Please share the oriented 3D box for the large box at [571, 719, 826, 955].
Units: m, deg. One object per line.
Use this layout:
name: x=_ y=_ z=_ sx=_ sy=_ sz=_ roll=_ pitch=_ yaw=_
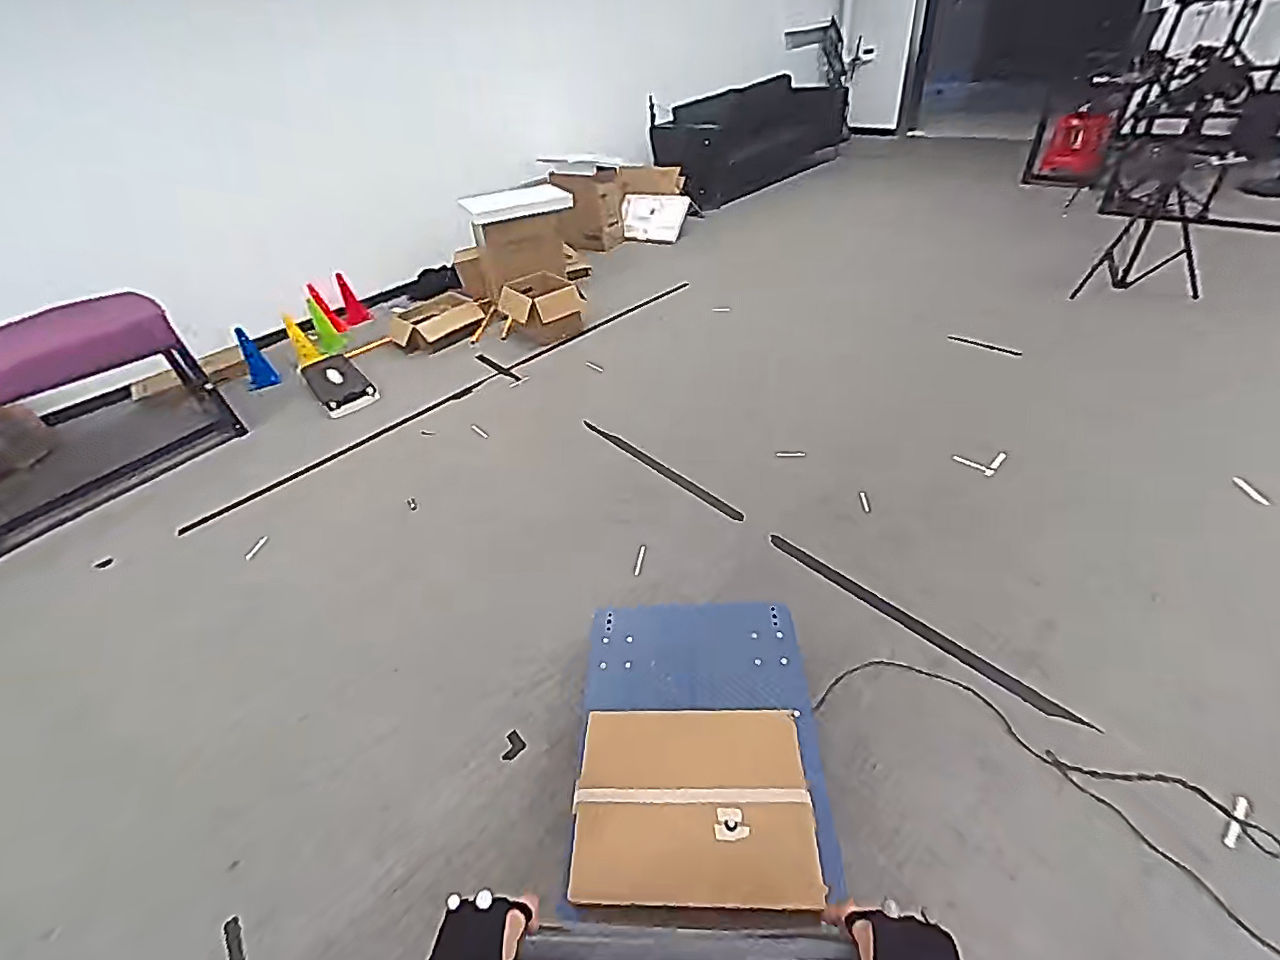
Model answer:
large box: x=0.103 y=0.684 z=1.040 sx=0.408 sy=0.320 sz=0.320 roll=-3 pitch=41 yaw=5
